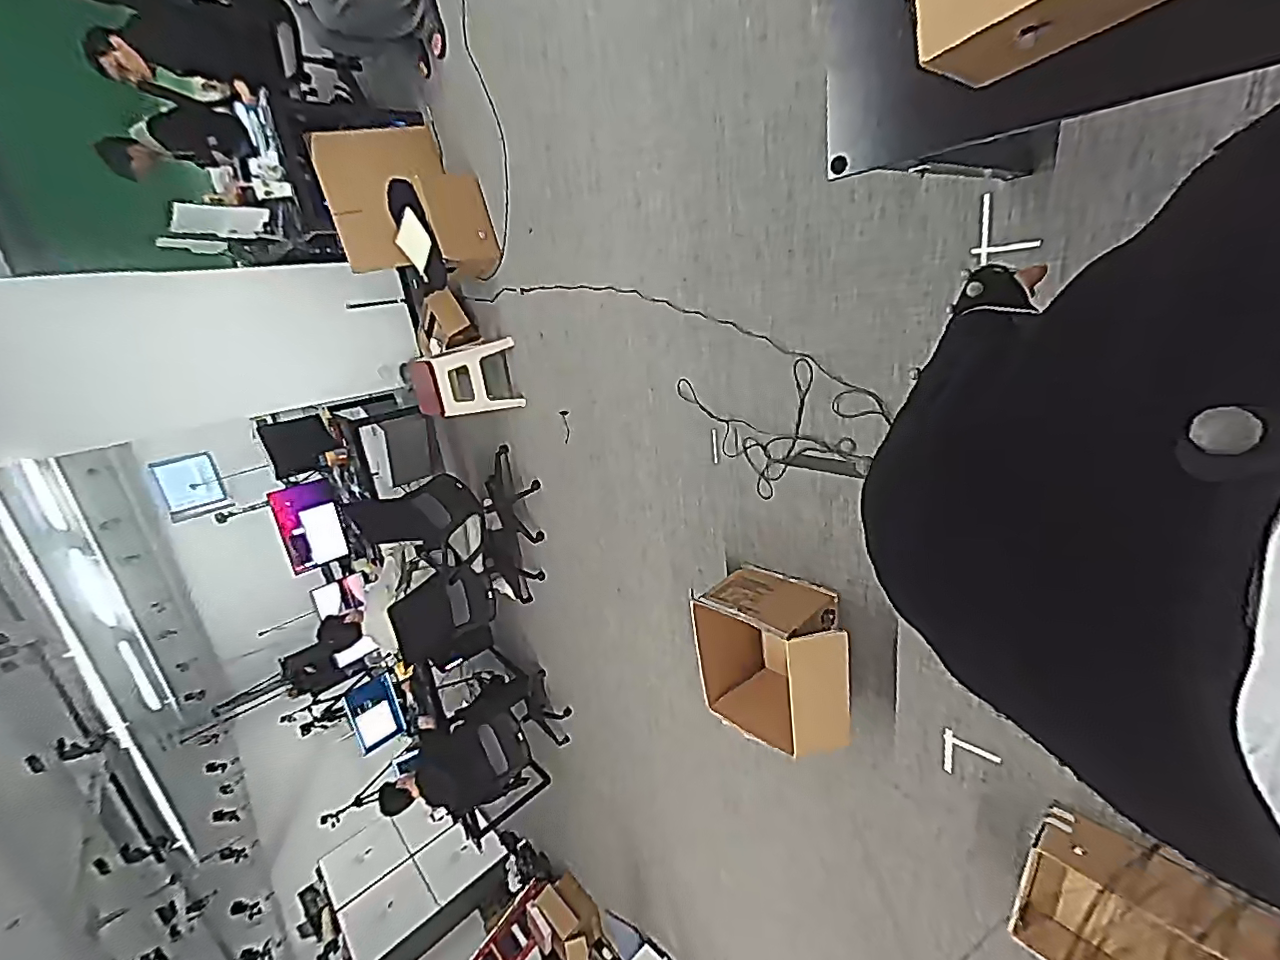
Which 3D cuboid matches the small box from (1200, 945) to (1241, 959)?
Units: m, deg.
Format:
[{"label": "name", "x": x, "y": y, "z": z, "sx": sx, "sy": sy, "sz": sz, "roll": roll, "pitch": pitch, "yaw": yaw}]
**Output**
[{"label": "small box", "x": 1.413, "y": 1.258, "z": 1.256, "sx": 0.179, "sy": 0.176, "sz": 0.168, "roll": 20, "pitch": 120, "yaw": 46}]
